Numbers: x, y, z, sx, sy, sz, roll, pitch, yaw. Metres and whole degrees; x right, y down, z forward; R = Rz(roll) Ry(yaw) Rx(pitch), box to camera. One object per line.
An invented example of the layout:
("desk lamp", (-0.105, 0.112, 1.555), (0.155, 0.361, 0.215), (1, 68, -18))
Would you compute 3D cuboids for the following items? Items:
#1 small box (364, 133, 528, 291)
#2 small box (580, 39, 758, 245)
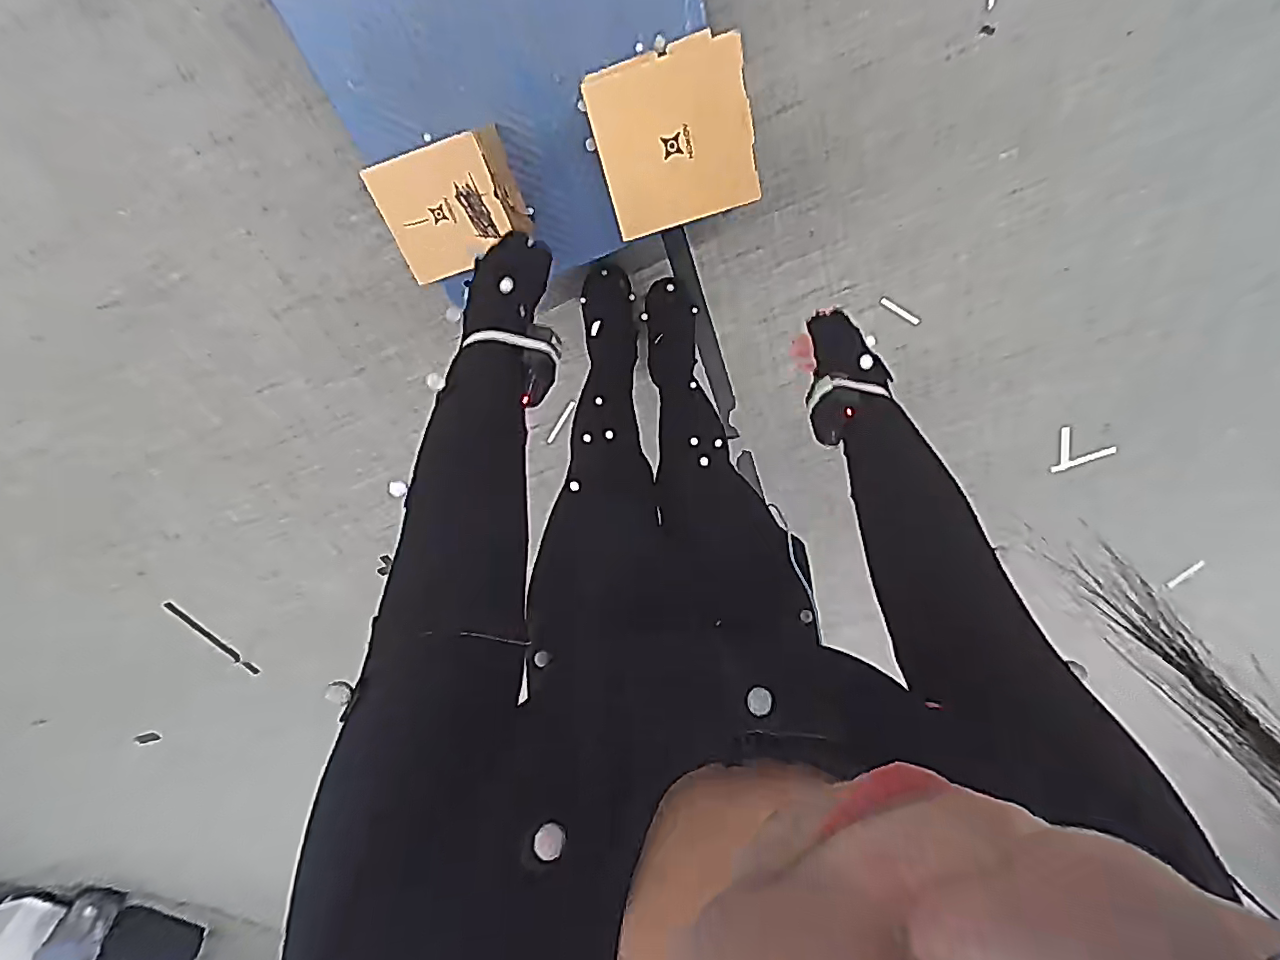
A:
("small box", (-0.287, -0.427, 0.853), (0.179, 0.176, 0.168), (-15, 125, 8))
("small box", (0.035, -0.419, 0.680), (0.179, 0.176, 0.168), (-15, 125, 6))
